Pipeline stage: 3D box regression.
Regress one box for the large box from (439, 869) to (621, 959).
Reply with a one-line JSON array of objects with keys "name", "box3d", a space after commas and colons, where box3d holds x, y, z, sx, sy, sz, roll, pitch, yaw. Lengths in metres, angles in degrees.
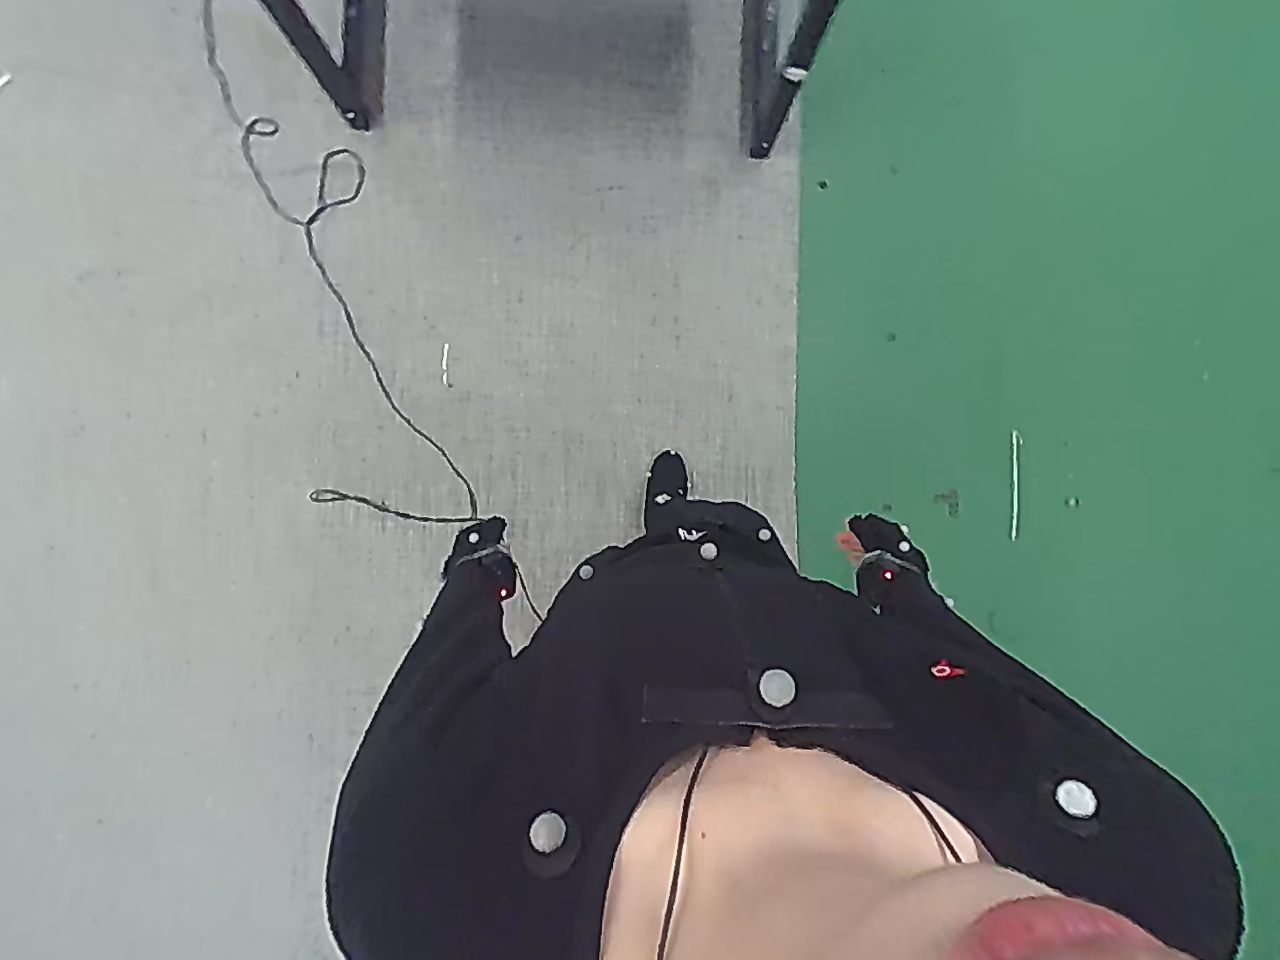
[{"name": "large box", "box3d": [-0.256, 1.206, 1.316, 0.408, 0.320, 0.320, 2, 88, -5]}]
